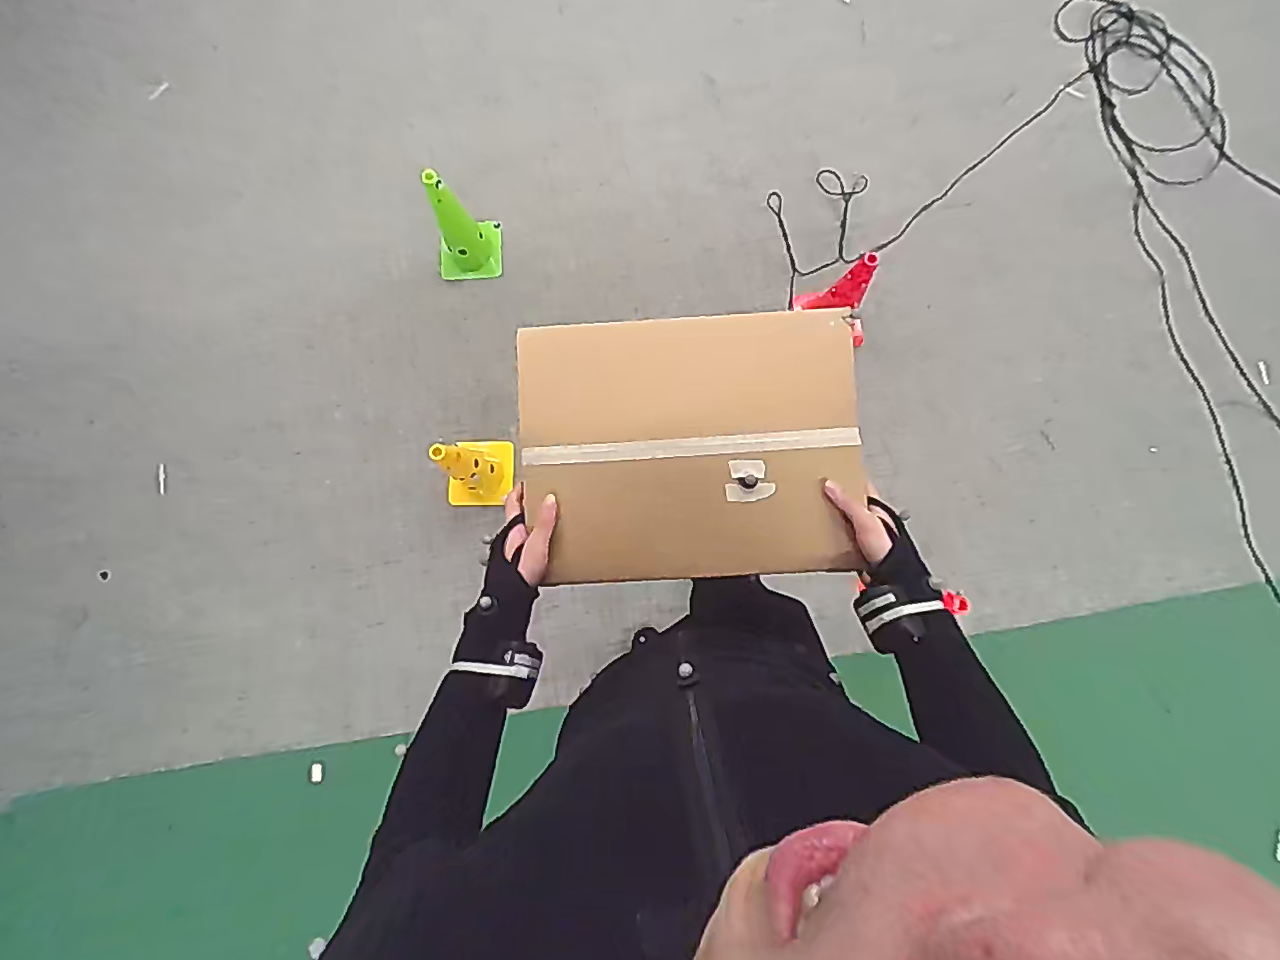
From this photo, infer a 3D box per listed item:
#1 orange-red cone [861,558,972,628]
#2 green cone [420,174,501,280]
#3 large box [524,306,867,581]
[{"bbox_3d":[0.753,0.311,1.421,0.199,0.360,0.198,-2,83,0],"label":"orange-red cone"},{"bbox_3d":[-0.566,-0.780,1.615,0.200,0.368,0.202,-4,83,1],"label":"green cone"},{"bbox_3d":[0.066,-0.039,0.805,0.408,0.320,0.320,-4,88,1],"label":"large box"}]
